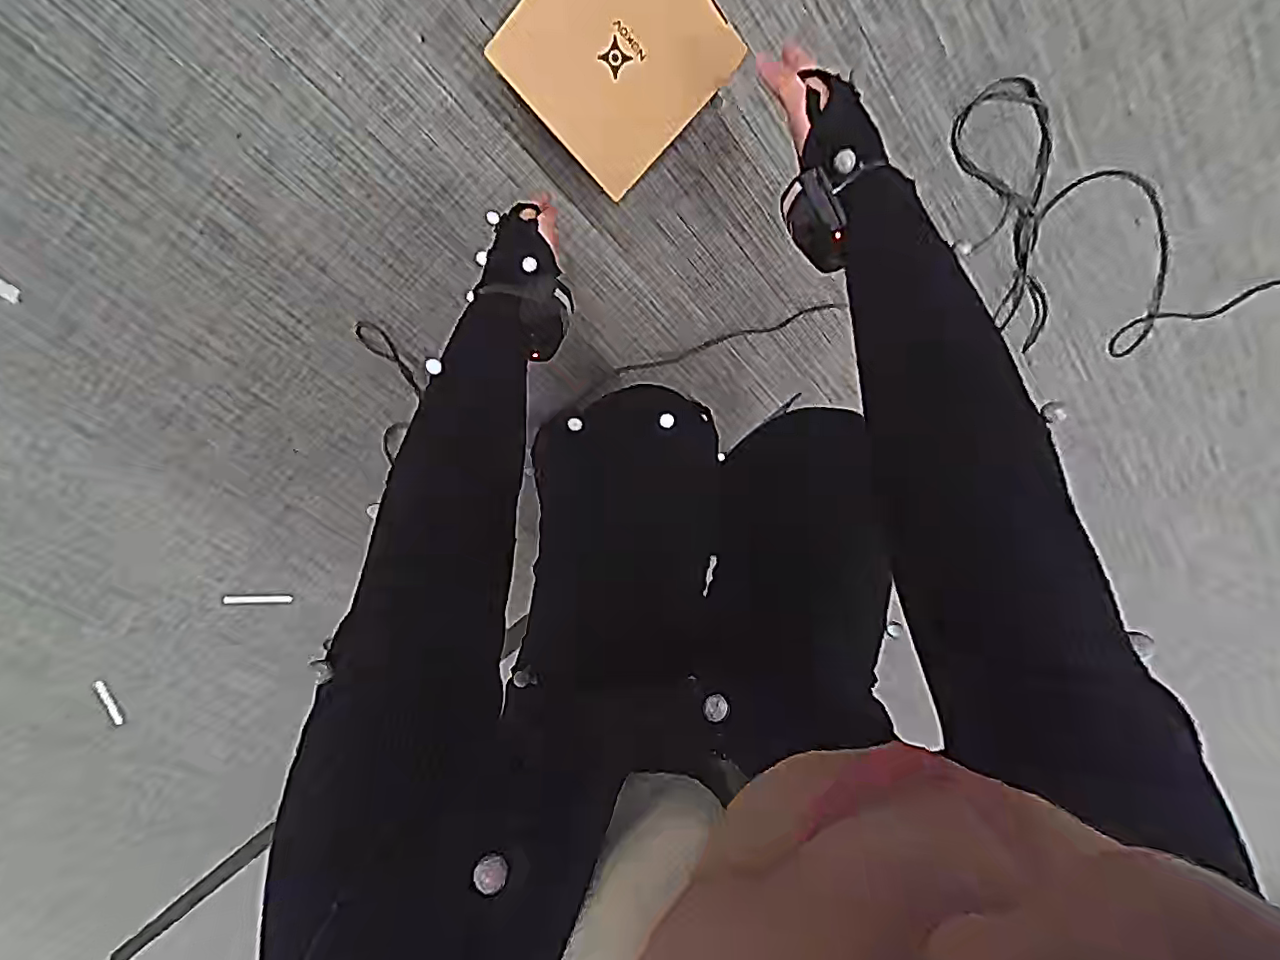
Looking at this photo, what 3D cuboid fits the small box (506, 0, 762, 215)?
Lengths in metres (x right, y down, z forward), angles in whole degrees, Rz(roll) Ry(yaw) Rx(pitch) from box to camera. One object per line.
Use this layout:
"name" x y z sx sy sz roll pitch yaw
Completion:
"small box" -0.007 -0.400 0.508 0.179 0.176 0.168 39 90 -7
